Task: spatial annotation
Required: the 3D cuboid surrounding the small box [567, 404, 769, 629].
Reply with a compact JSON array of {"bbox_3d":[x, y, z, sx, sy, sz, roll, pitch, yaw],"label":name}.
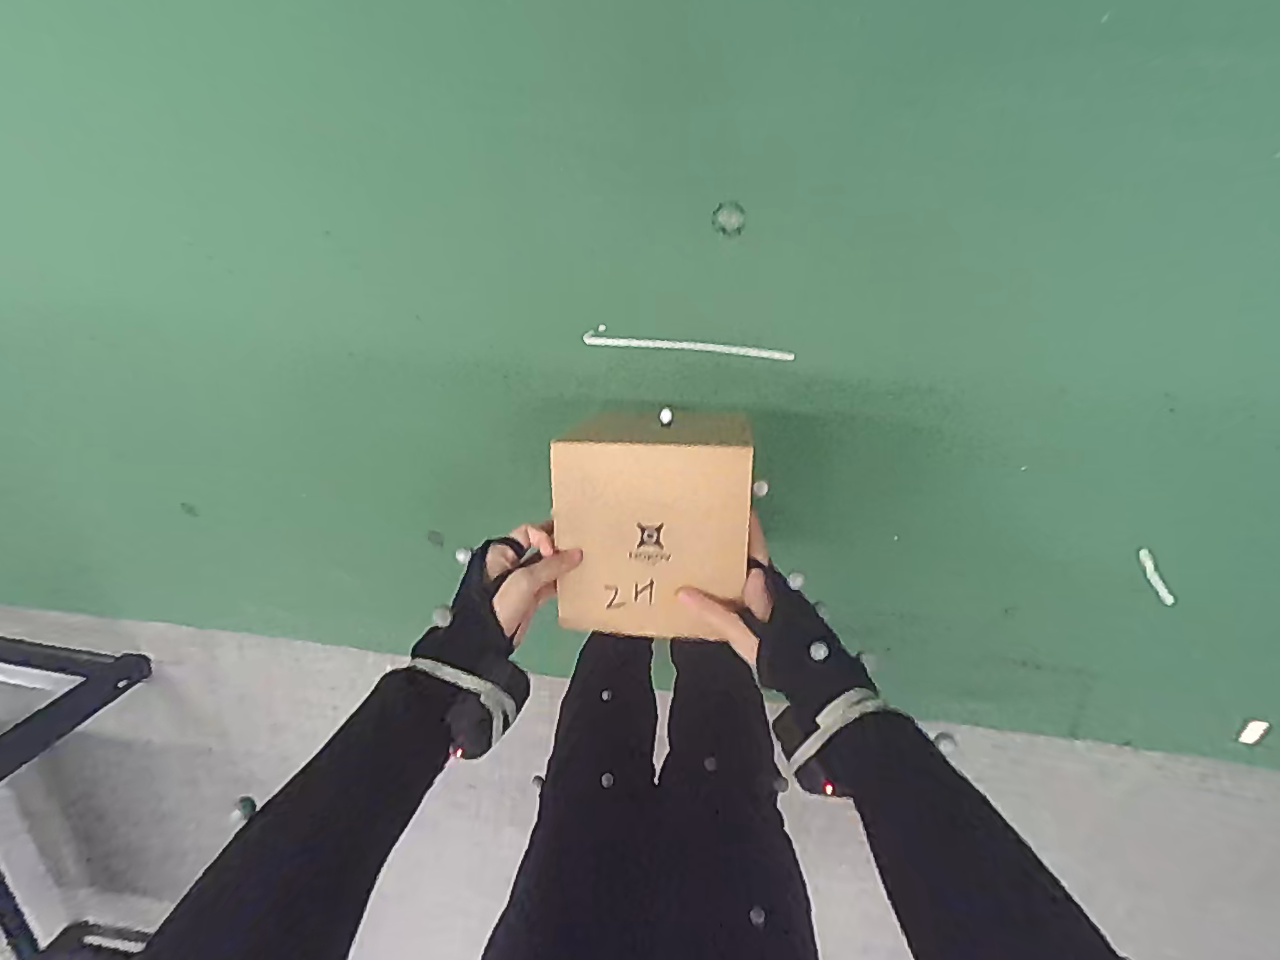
[{"bbox_3d":[0.027,0.022,0.535,0.168,0.176,0.179,3,106,6],"label":"small box"}]
